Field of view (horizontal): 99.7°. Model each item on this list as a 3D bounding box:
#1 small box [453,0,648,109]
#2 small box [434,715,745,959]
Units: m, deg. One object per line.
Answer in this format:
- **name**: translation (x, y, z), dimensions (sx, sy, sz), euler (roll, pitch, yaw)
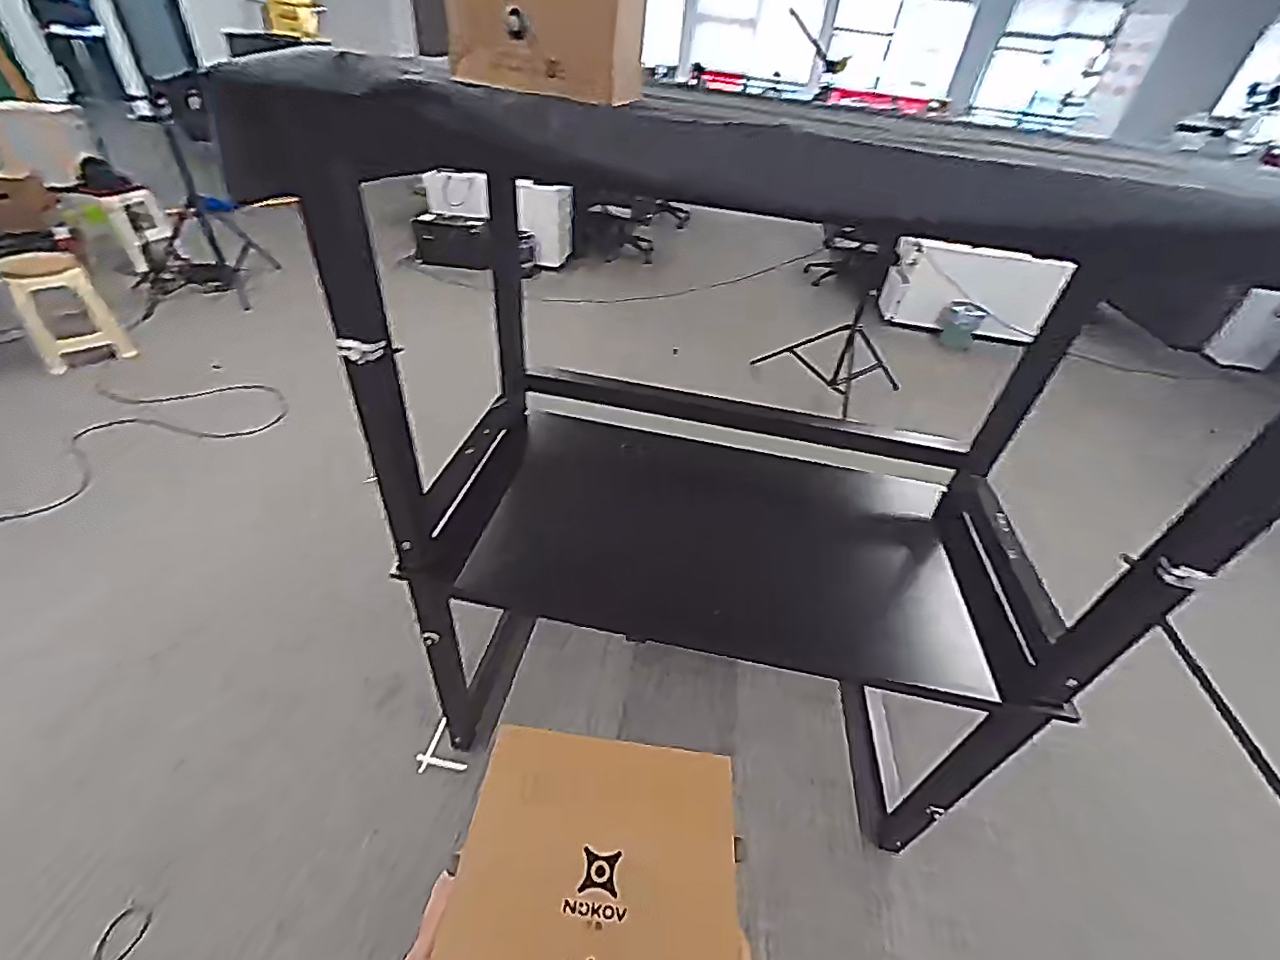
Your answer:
- **small box**: translation (-0.085, -0.494, 0.551), dimensions (0.168, 0.176, 0.179), euler (11, 38, 3)
- **small box**: translation (-0.029, 0.292, 0.364), dimensions (0.168, 0.176, 0.179), euler (8, 40, 1)
